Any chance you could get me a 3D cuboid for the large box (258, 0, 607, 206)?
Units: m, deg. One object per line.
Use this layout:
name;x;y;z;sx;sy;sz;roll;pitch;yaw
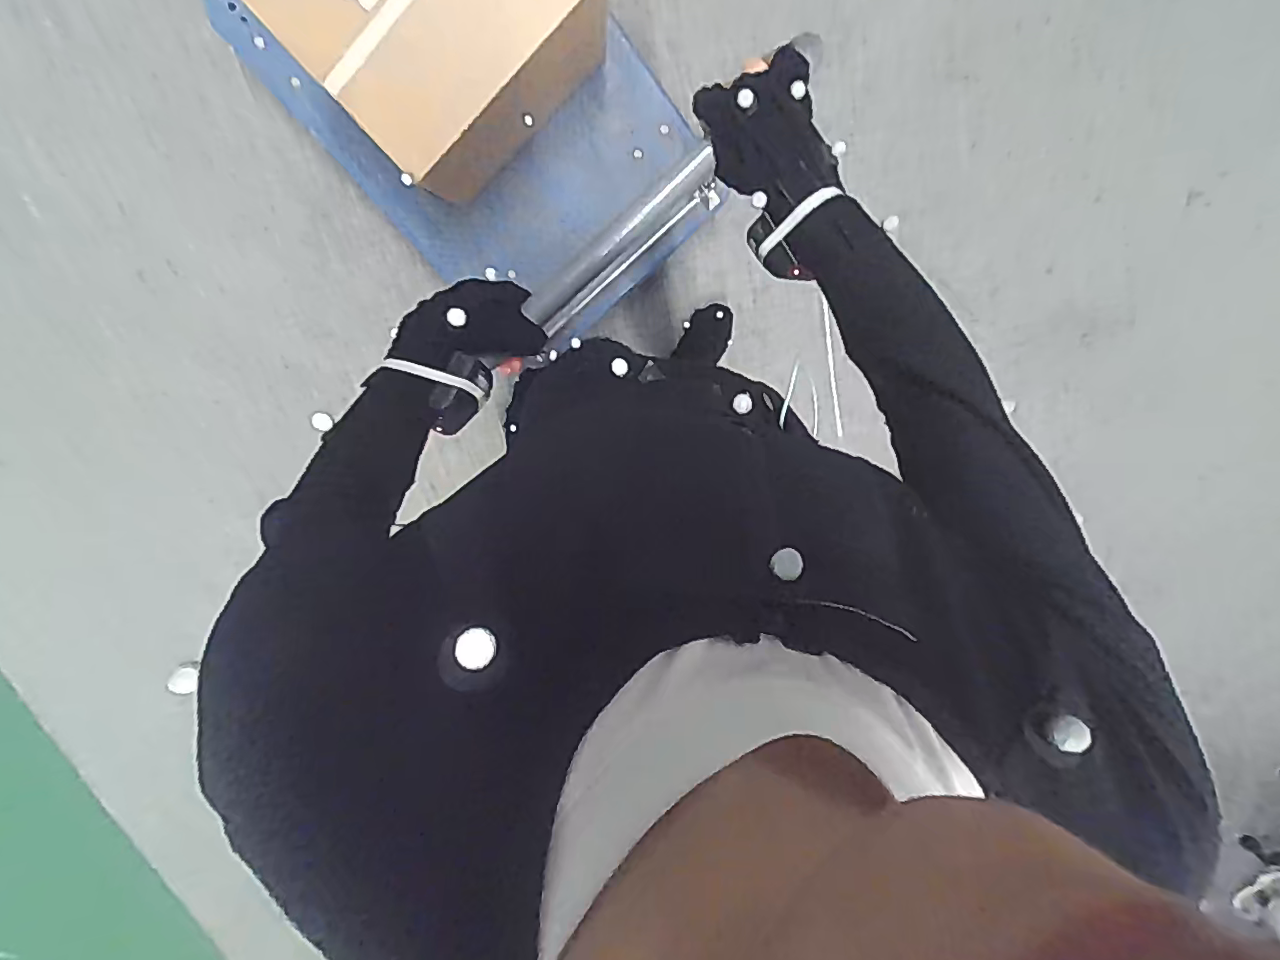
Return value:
large box;-0.298;-0.740;0.896;0.408;0.320;0.320;-42;107;11
